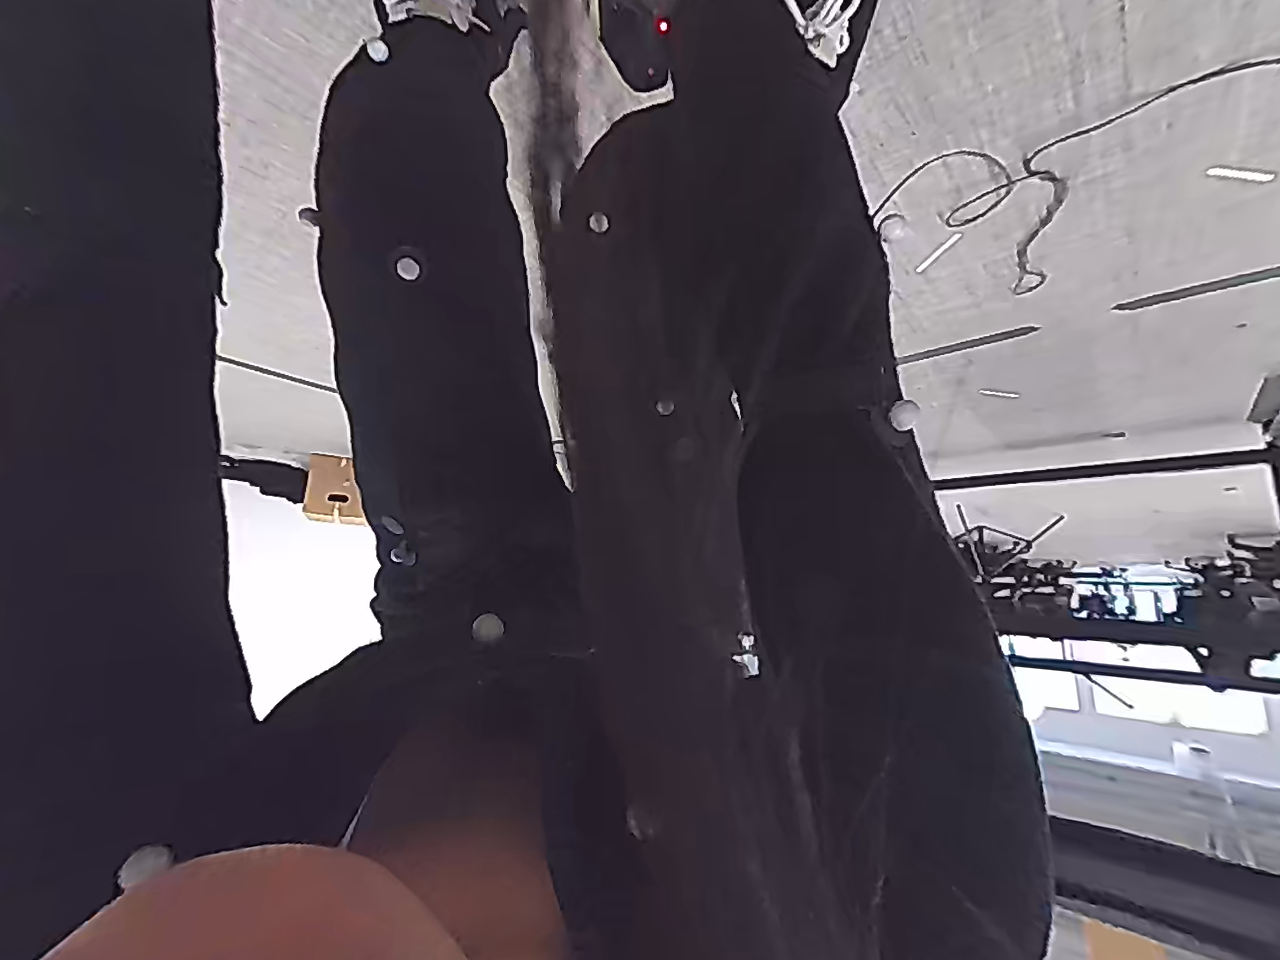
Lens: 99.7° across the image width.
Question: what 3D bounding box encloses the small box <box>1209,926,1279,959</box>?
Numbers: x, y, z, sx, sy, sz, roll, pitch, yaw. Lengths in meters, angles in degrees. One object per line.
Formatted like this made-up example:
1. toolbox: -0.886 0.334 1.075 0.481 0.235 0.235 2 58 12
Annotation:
1. small box: 1.572 1.283 1.367 0.179 0.176 0.168 12 165 -42
